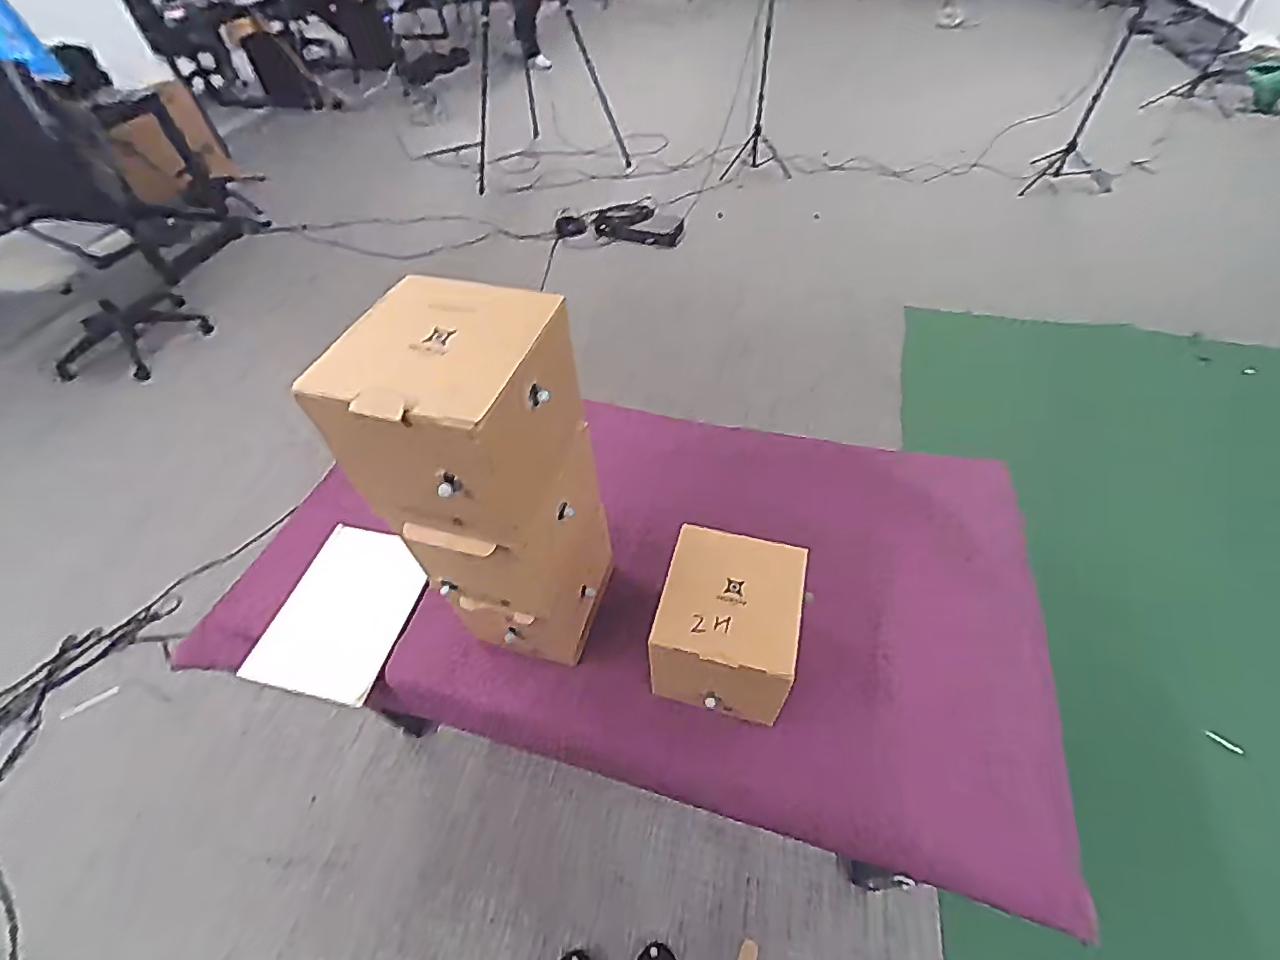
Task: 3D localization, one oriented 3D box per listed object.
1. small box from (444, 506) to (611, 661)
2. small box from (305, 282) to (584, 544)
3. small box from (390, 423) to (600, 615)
[{"bbox_3d":[-0.145,0.138,0.782,0.168,0.176,0.179,12,53,12],"label":"small box"},{"bbox_3d":[-0.162,-0.063,0.524,0.168,0.176,0.179,13,52,13],"label":"small box"},{"bbox_3d":[-0.154,0.037,0.652,0.168,0.176,0.179,12,51,13],"label":"small box"}]
